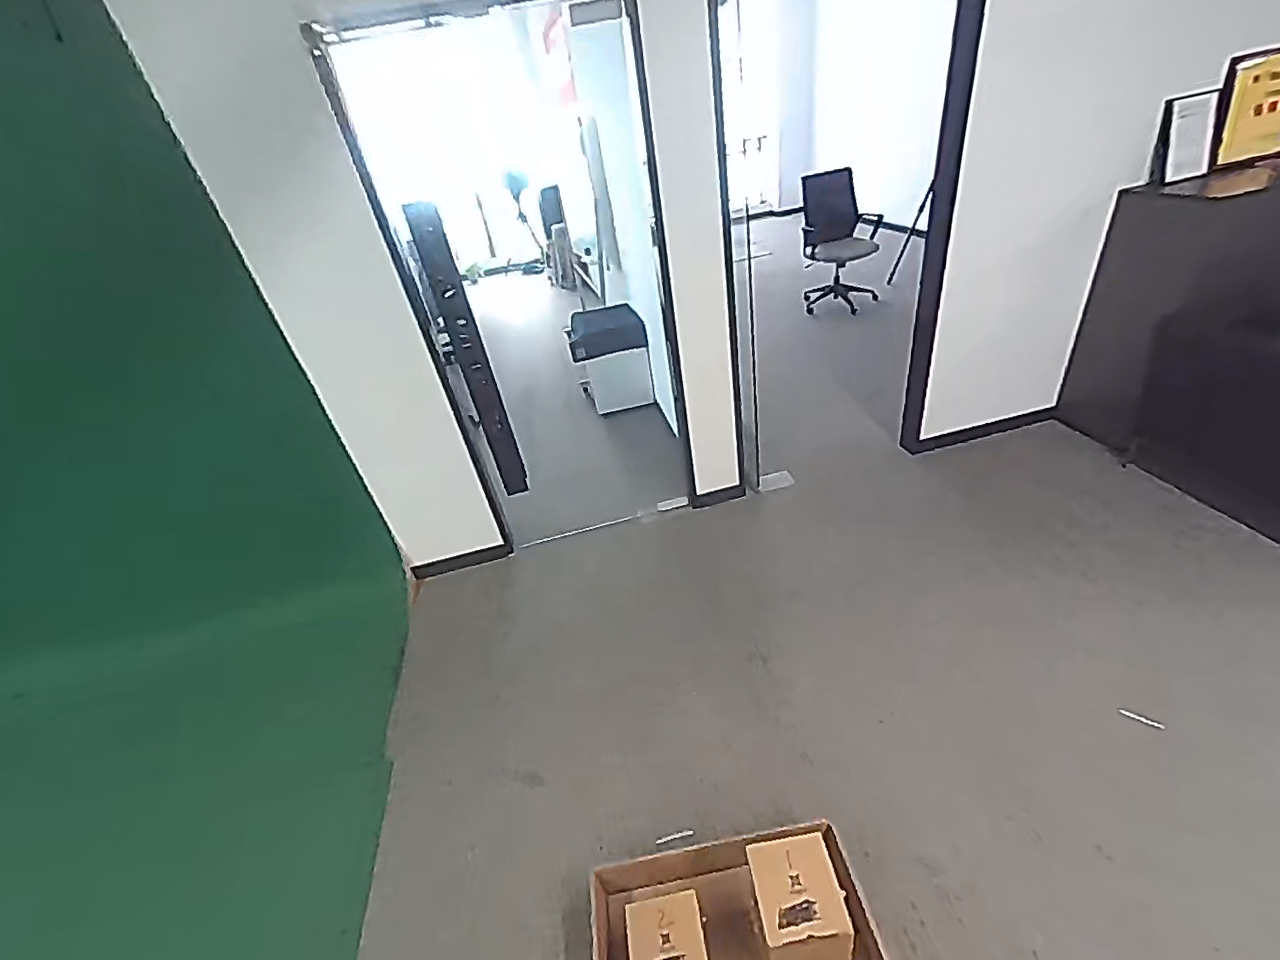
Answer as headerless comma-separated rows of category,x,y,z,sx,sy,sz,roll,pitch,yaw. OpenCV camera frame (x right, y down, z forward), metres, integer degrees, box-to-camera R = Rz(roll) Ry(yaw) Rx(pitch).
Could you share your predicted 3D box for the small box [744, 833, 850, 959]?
small box,0.320,0.873,1.115,0.168,0.176,0.179,-11,32,1
